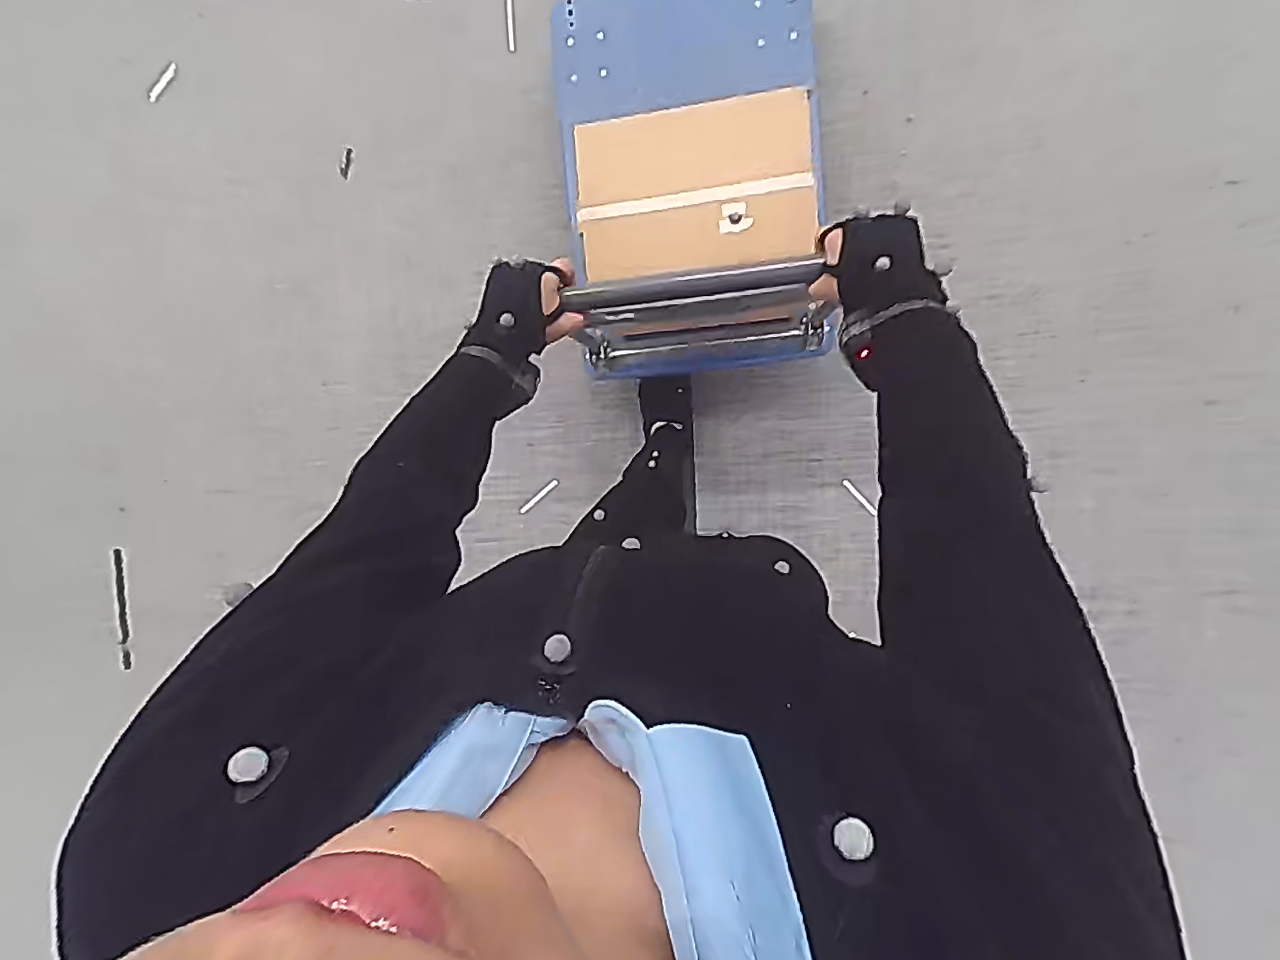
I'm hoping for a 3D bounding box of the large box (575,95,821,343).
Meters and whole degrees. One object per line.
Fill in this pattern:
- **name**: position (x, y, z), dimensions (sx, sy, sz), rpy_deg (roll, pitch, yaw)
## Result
- **large box**: position (0.113, -0.478, 1.075), dimensions (0.408, 0.320, 0.320), rpy_deg (-5, 93, 7)
